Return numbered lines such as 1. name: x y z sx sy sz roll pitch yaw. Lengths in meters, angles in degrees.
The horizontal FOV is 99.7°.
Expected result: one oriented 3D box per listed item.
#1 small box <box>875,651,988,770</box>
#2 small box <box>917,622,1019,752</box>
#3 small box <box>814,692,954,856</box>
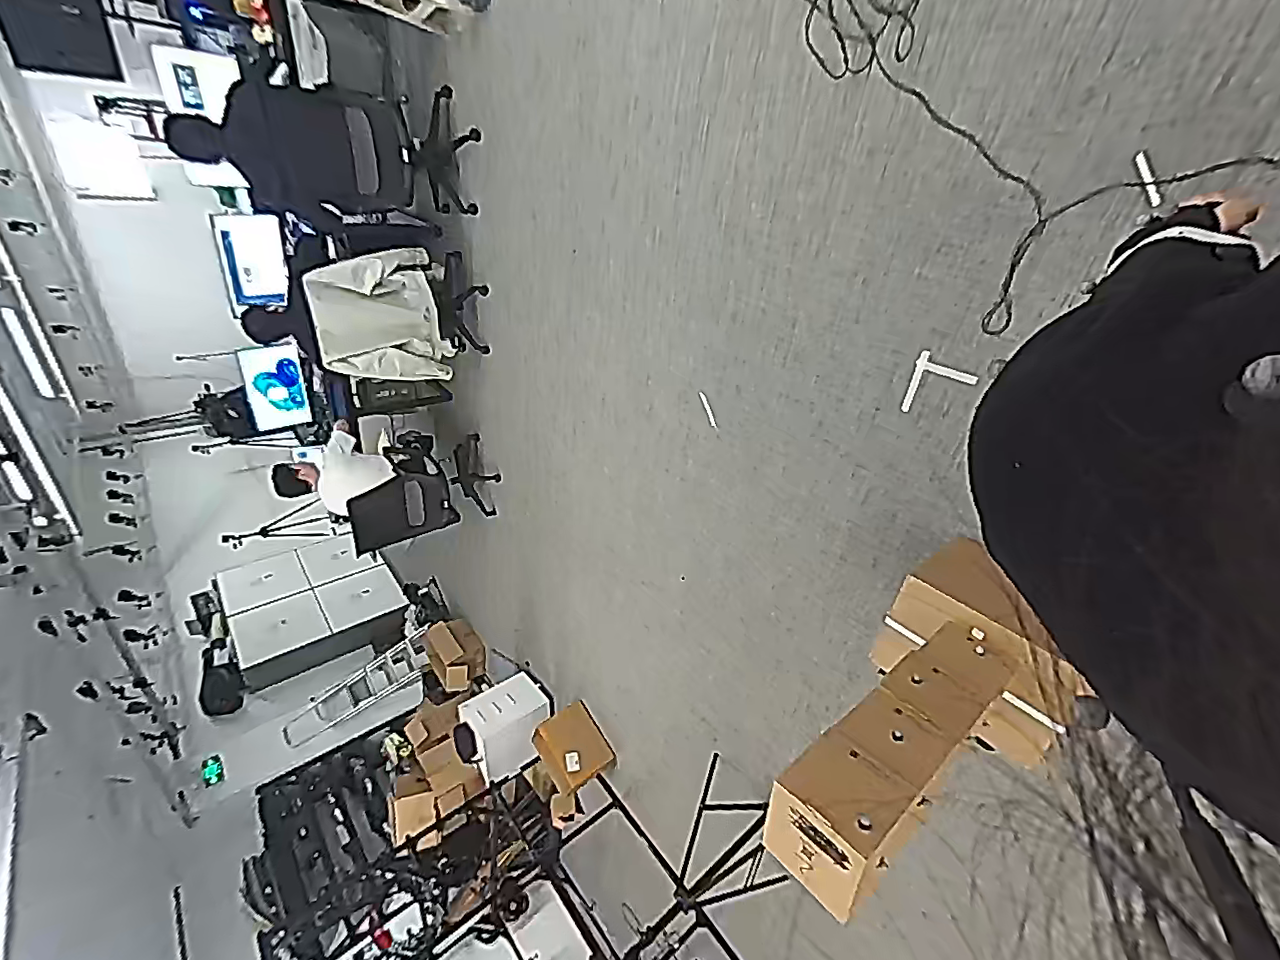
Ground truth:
1. small box: 0.583 0.491 1.116 0.168 0.176 0.179 33 130 41
2. small box: 0.709 0.455 1.211 0.168 0.176 0.179 34 129 39
3. small box: 0.459 0.539 1.017 0.168 0.176 0.179 29 127 44
